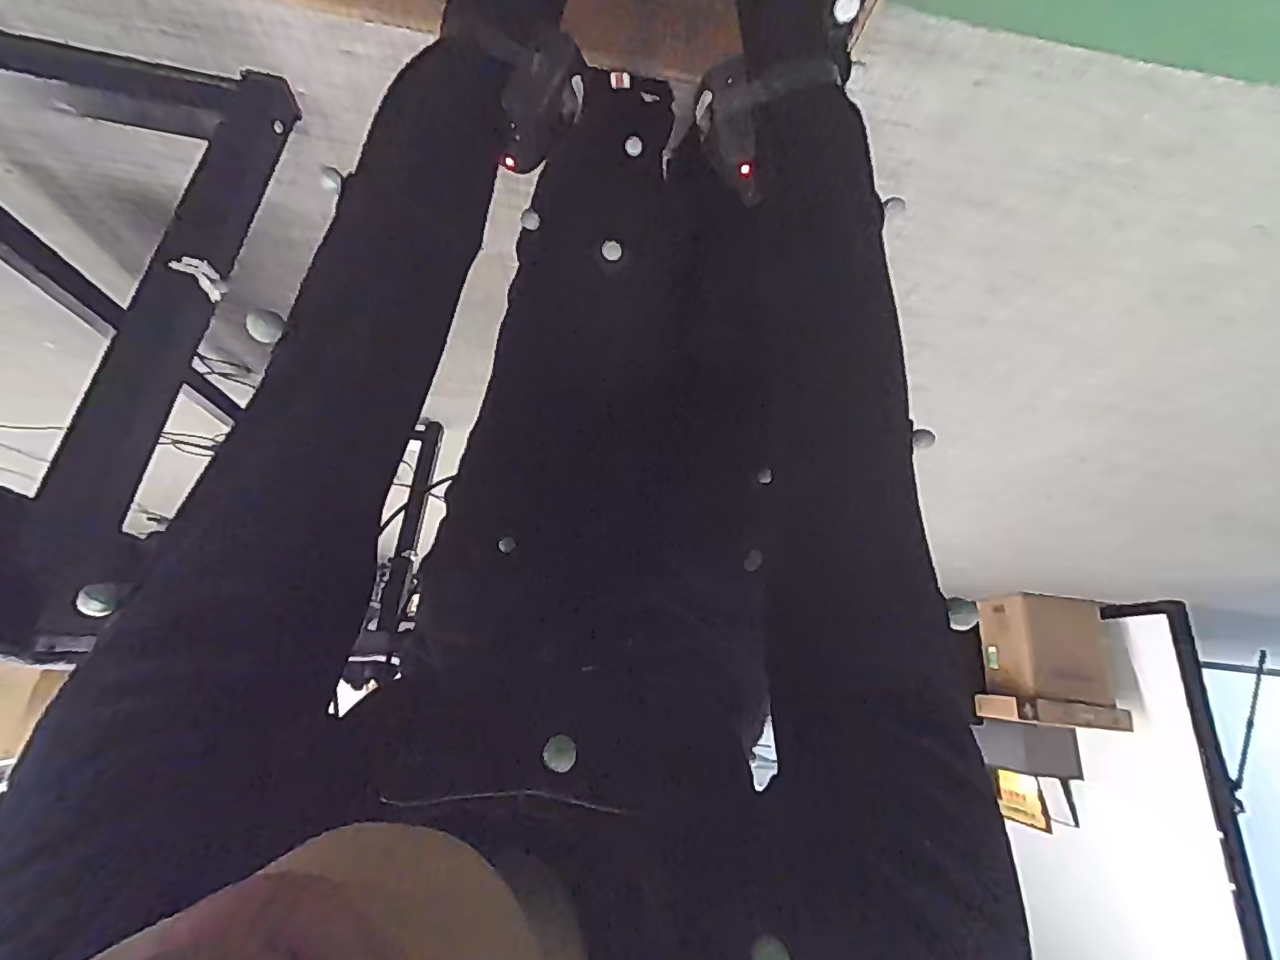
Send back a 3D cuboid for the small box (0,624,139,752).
[{"bbox_3d":[-0.963,0.319,0.852,0.168,0.176,0.179,6,162,-3],"label":"small box"}]
